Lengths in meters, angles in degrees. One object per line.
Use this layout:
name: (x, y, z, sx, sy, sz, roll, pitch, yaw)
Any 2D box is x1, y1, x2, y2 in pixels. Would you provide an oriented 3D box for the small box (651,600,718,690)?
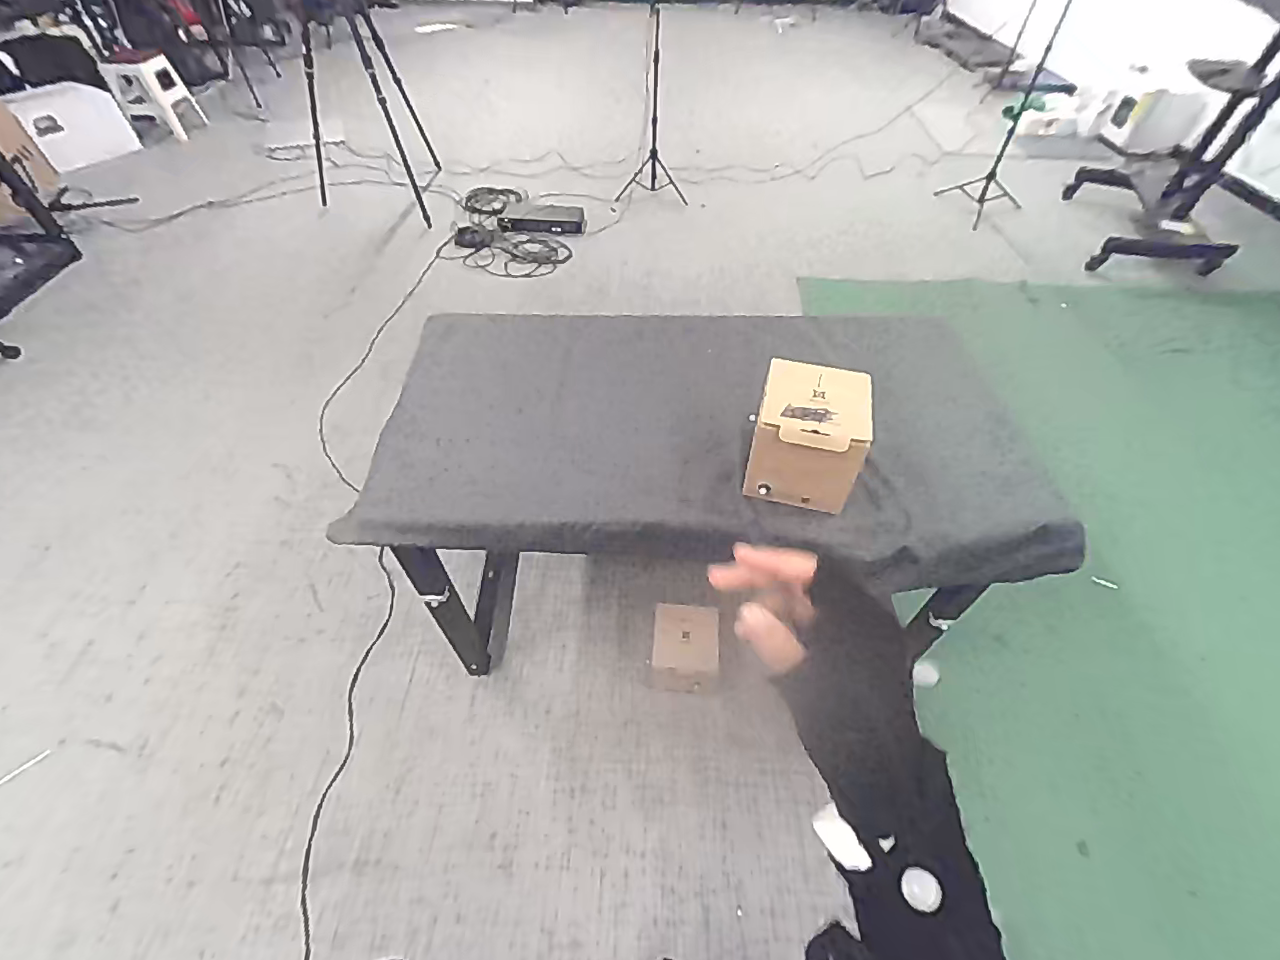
small box: (0.117, 0.441, 1.433, 0.168, 0.176, 0.179, 4, 49, 2)

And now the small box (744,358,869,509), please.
small box: (0.277, -0.076, 0.916, 0.168, 0.176, 0.179, 13, 50, 10)
